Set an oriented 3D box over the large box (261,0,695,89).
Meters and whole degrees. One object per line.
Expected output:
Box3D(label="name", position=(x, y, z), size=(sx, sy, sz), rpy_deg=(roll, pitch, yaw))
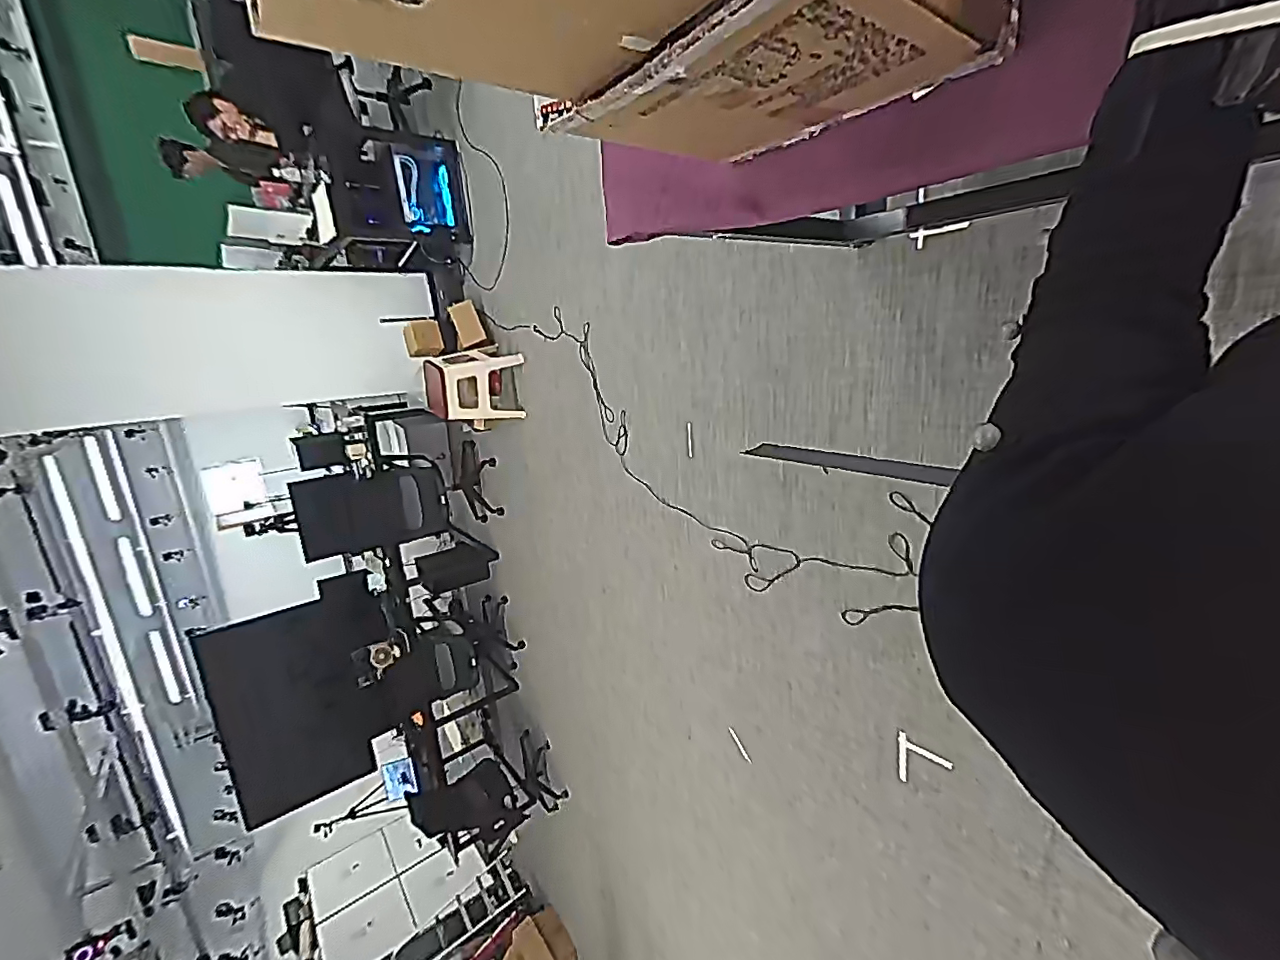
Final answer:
Box3D(label="large box", position=(-0.118, -0.571, 0.362), size=(0.320, 0.320, 0.408), rpy_deg=(20, 118, 54))
